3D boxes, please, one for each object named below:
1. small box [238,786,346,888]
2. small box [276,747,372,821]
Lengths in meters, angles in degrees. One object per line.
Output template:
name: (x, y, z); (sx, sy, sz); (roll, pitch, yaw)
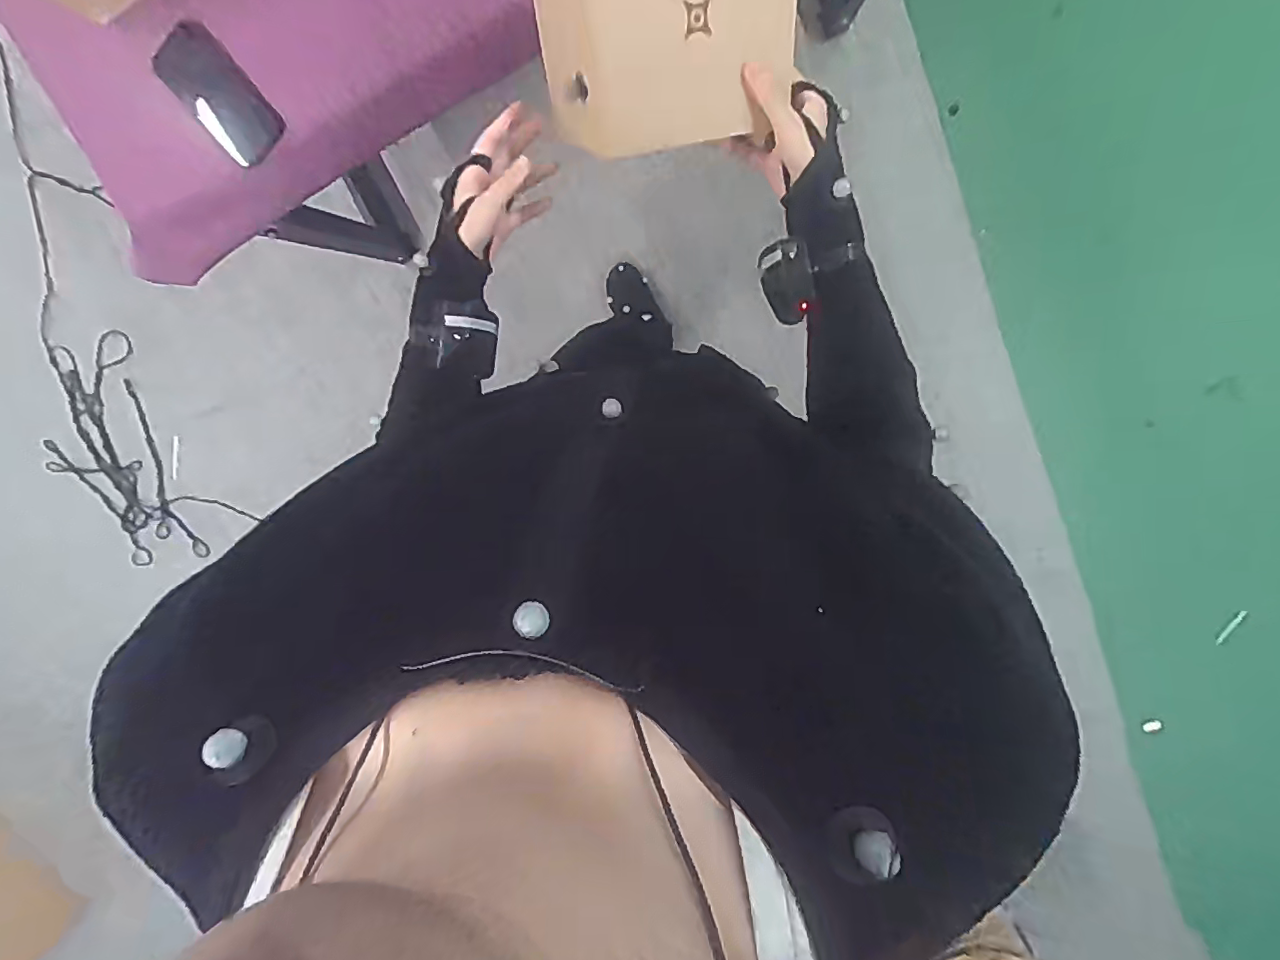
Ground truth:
small box: (-1.030, 1.061, 1.617); (0.179, 0.176, 0.168); (-23, 104, 10)
small box: (-1.027, 1.010, 1.773); (0.168, 0.176, 0.179); (-25, 104, 10)
